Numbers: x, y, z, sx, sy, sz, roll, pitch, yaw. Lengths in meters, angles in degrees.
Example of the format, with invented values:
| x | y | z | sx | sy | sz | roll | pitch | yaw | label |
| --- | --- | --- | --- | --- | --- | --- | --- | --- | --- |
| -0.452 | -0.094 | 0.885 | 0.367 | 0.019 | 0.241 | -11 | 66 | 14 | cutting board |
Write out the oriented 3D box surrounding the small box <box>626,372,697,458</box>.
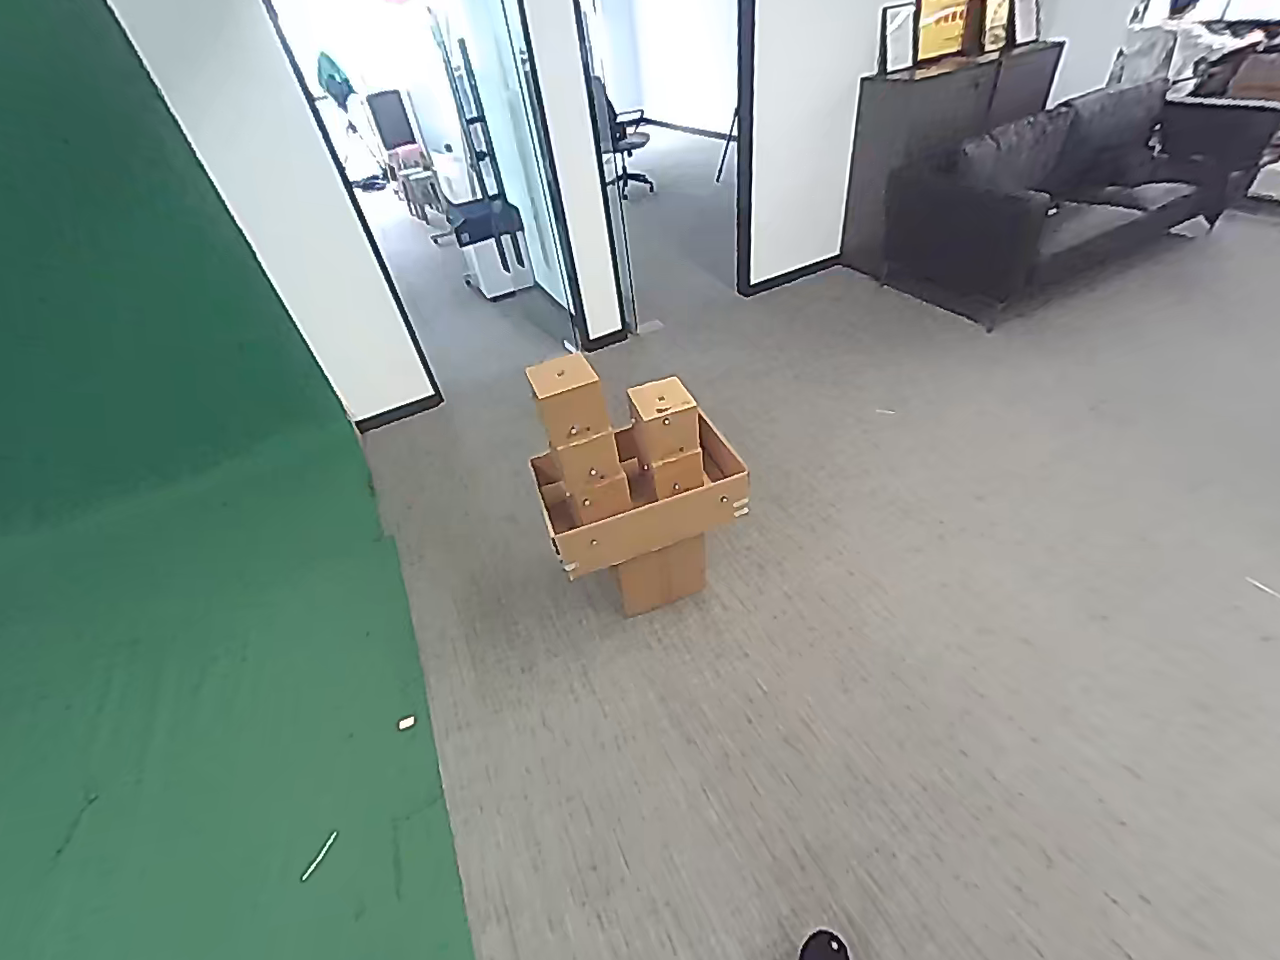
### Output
| x | y | z | sx | sy | sz | roll | pitch | yaw | label |
| --- | --- | --- | --- | --- | --- | --- | --- | --- | --- |
| 0.064 | -0.196 | 1.633 | 0.168 | 0.176 | 0.179 | -17 | 44 | -9 | small box |

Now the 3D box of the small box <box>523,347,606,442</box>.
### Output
| x | y | z | sx | sy | sz | roll | pitch | yaw | label |
| --- | --- | --- | --- | --- | --- | --- | --- | --- | --- |
| -0.204 | -0.233 | 1.471 | 0.168 | 0.176 | 0.179 | -20 | 44 | -11 | small box |

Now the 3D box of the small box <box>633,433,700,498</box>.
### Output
| x | y | z | sx | sy | sz | roll | pitch | yaw | label |
| --- | --- | --- | --- | --- | --- | --- | --- | --- | --- |
| 0.085 | -0.072 | 1.740 | 0.168 | 0.176 | 0.179 | -18 | 45 | -11 | small box |

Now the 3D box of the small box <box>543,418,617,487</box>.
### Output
| x | y | z | sx | sy | sz | roll | pitch | yaw | label |
| --- | --- | --- | --- | --- | --- | --- | --- | --- | --- |
| -0.179 | -0.111 | 1.576 | 0.168 | 0.176 | 0.179 | -21 | 44 | -13 | small box |
